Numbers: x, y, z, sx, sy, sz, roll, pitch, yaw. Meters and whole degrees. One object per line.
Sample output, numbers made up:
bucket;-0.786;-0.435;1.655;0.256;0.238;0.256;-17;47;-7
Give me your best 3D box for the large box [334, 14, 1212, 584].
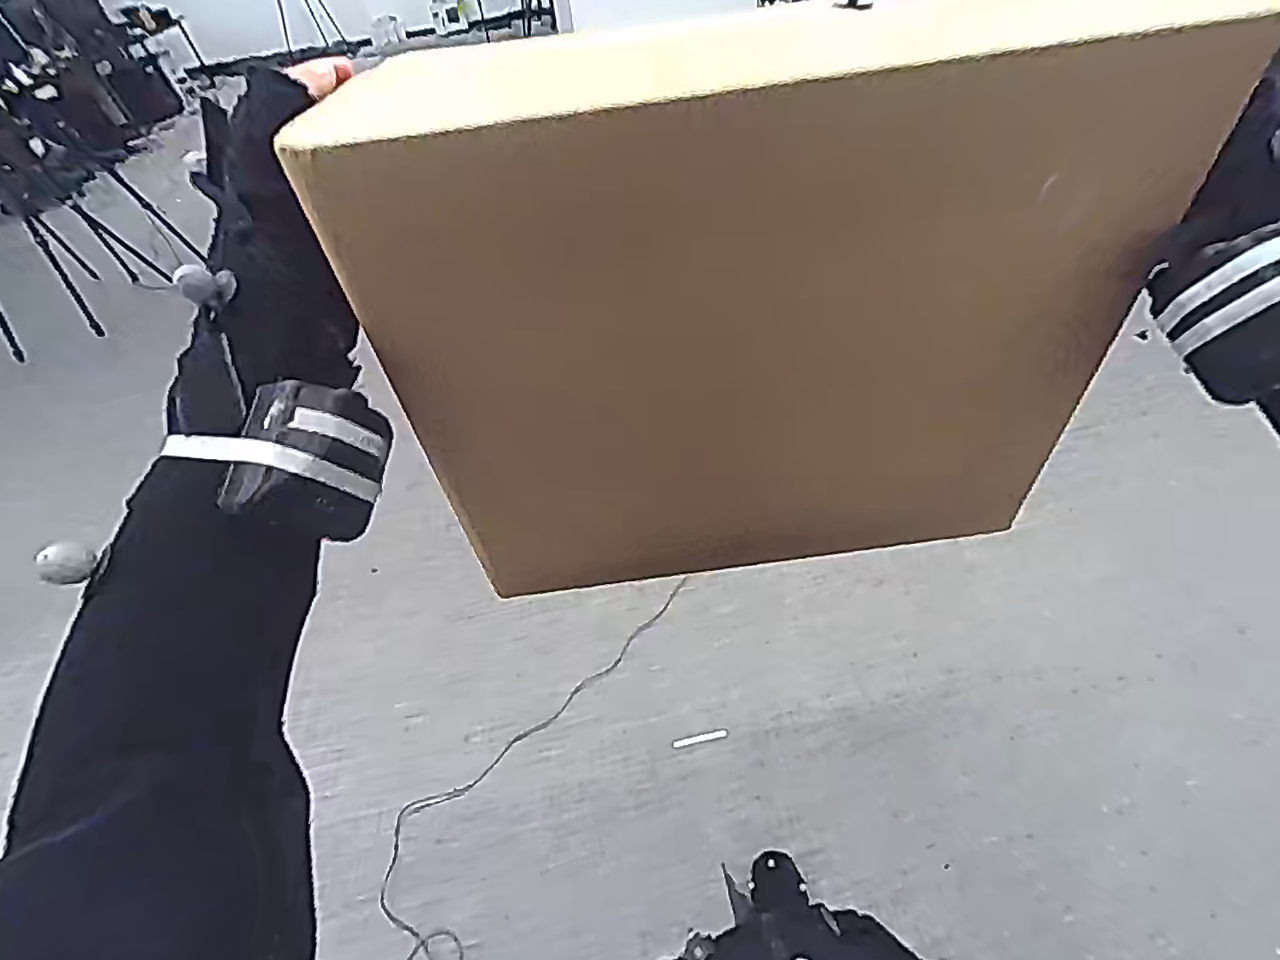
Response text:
large box;0.057;-0.150;0.445;0.408;0.320;0.320;-8;44;-1
